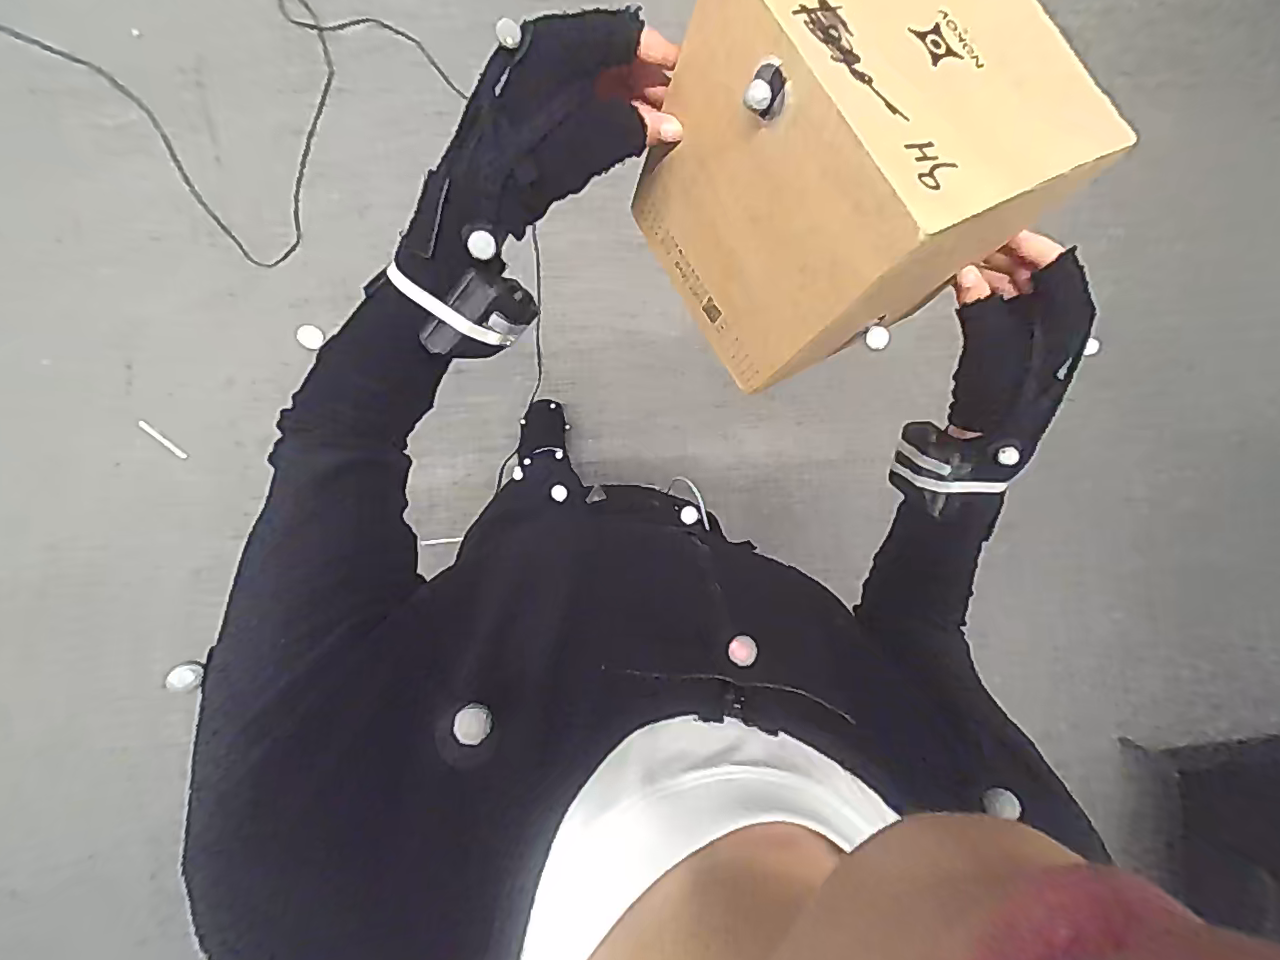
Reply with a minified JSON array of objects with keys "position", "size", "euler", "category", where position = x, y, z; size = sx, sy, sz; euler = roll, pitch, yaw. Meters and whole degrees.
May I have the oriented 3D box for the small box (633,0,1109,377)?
[{"position":[0.120,-0.194,0.340],"size":[0.179,0.176,0.168],"euler":[-28,83,-21],"category":"small box"}]
